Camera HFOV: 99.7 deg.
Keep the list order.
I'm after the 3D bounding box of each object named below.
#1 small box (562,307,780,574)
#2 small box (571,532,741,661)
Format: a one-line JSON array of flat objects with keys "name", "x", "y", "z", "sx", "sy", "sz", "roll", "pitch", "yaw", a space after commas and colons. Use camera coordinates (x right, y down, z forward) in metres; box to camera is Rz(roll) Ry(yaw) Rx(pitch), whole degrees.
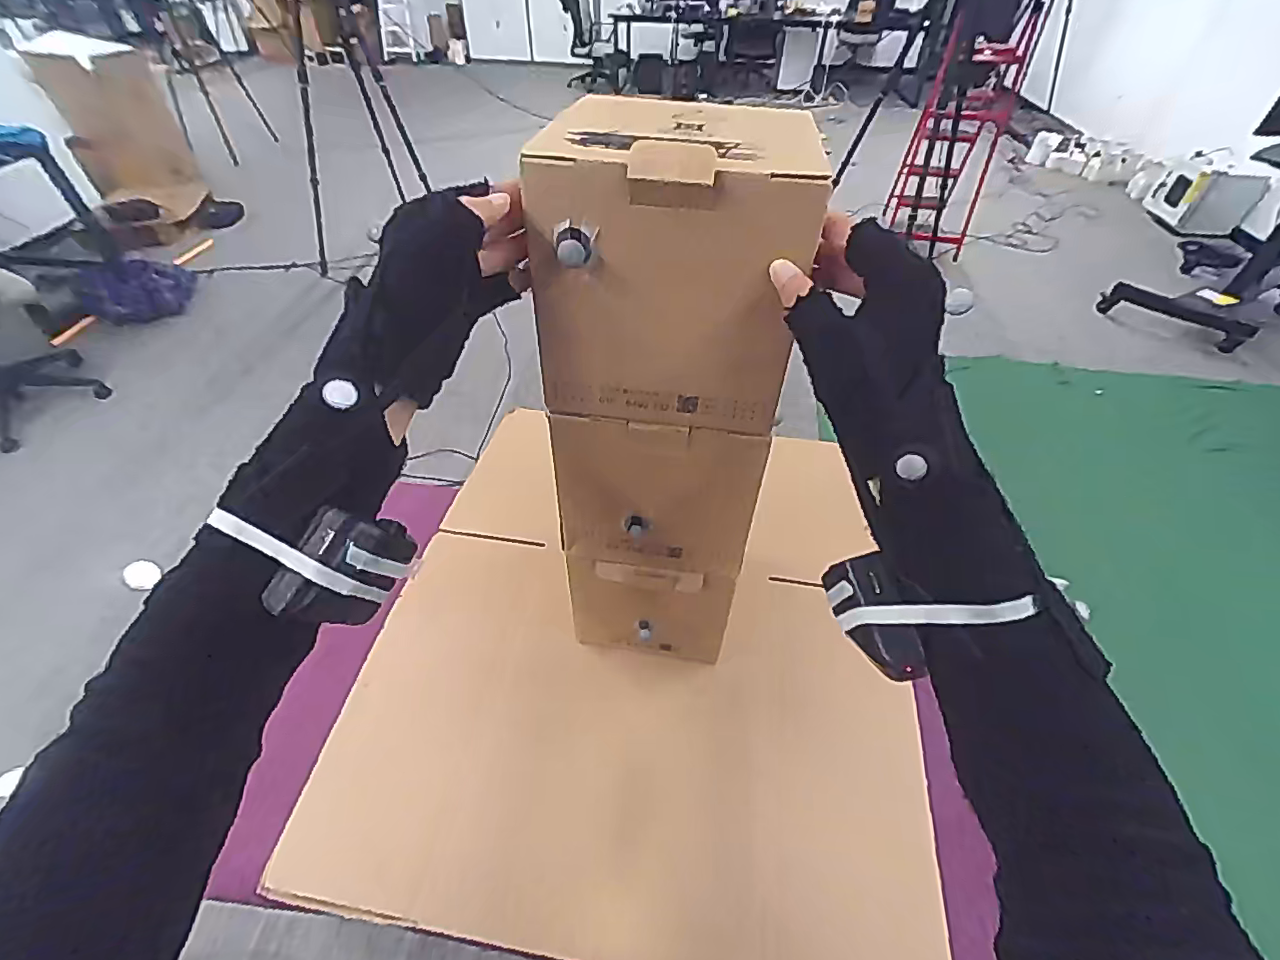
[{"name": "small box", "x": 0.029, "y": -0.039, "z": 0.508, "sx": 0.168, "sy": 0.176, "sz": 0.179, "roll": 7, "pitch": 45, "yaw": 4}, {"name": "small box", "x": 0.024, "y": 0.078, "z": 0.621, "sx": 0.168, "sy": 0.176, "sz": 0.179, "roll": 8, "pitch": 45, "yaw": 6}]
